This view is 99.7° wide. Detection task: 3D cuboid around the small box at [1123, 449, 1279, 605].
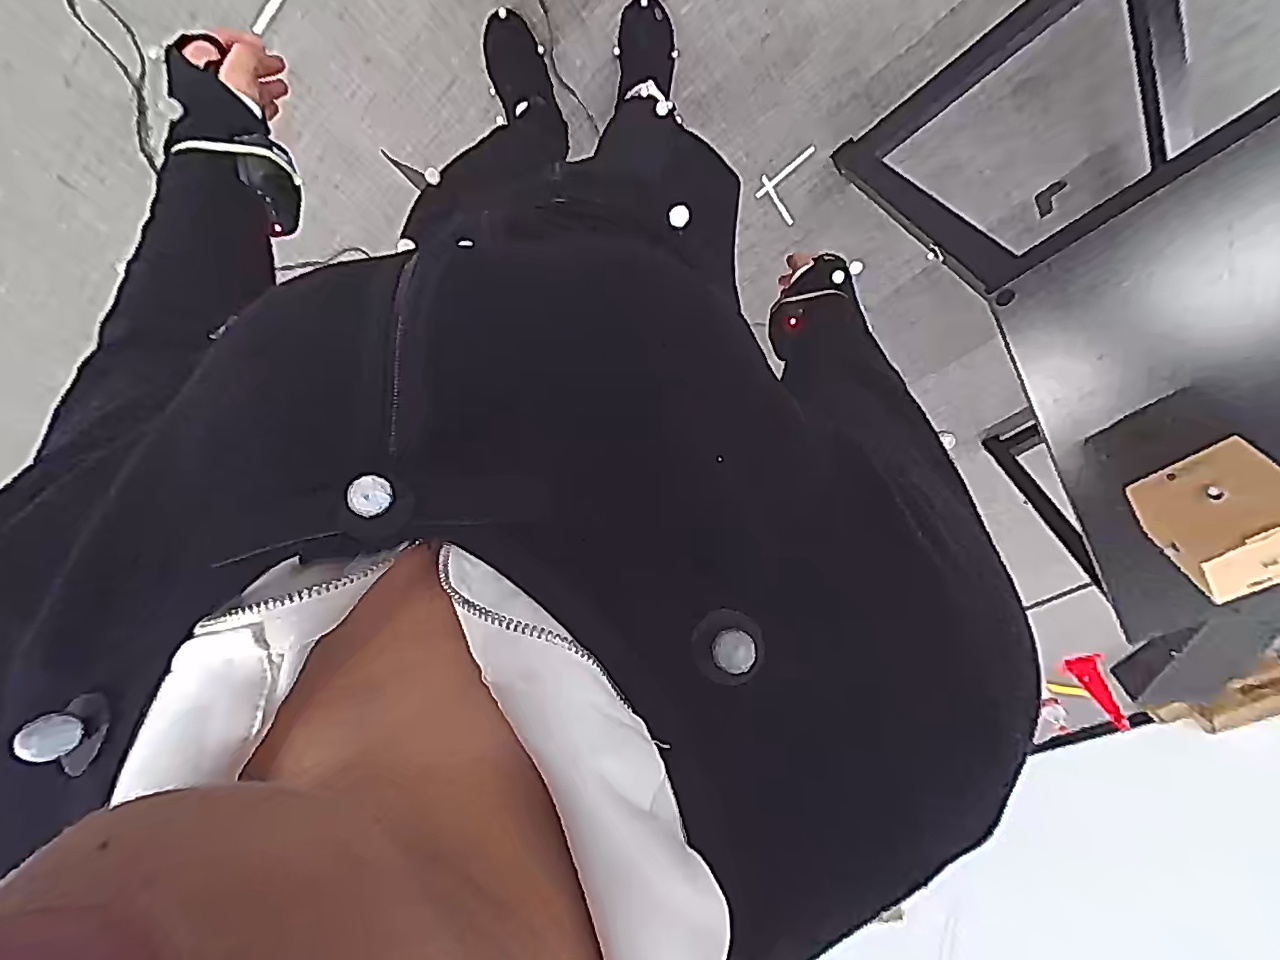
[{"bbox_3d":[0.967,0.073,0.905,0.168,0.176,0.179,-37,124,26],"label":"small box"}]
